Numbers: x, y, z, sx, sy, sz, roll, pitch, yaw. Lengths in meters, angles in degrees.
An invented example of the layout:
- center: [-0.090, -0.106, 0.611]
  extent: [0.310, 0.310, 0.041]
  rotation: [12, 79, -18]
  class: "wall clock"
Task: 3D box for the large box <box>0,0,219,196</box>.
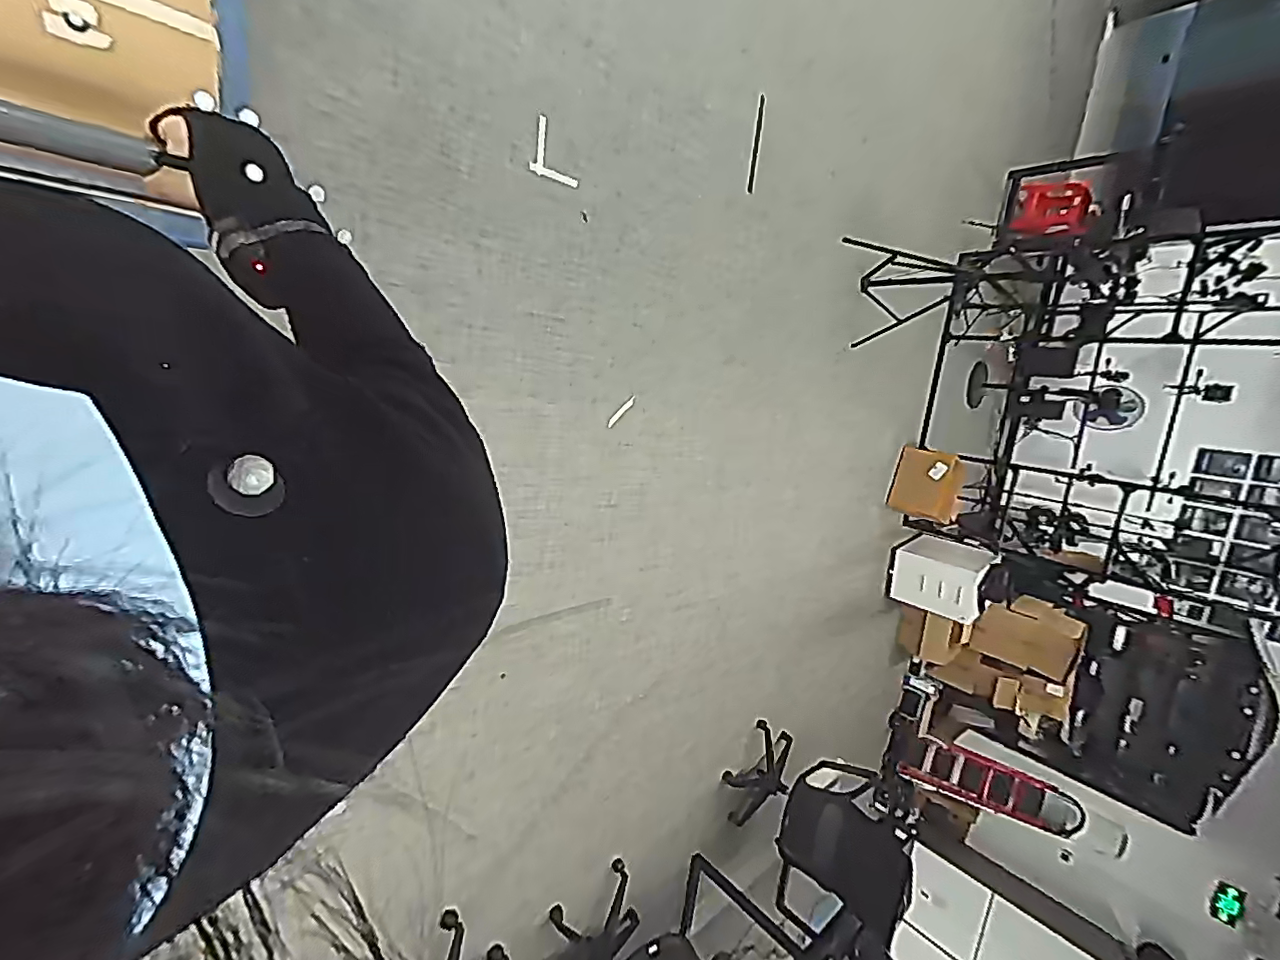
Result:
- center: [-0.833, -0.611, 0.705]
  extent: [0.408, 0.320, 0.320]
  rotation: [-6, 106, -44]
  class: "large box"
